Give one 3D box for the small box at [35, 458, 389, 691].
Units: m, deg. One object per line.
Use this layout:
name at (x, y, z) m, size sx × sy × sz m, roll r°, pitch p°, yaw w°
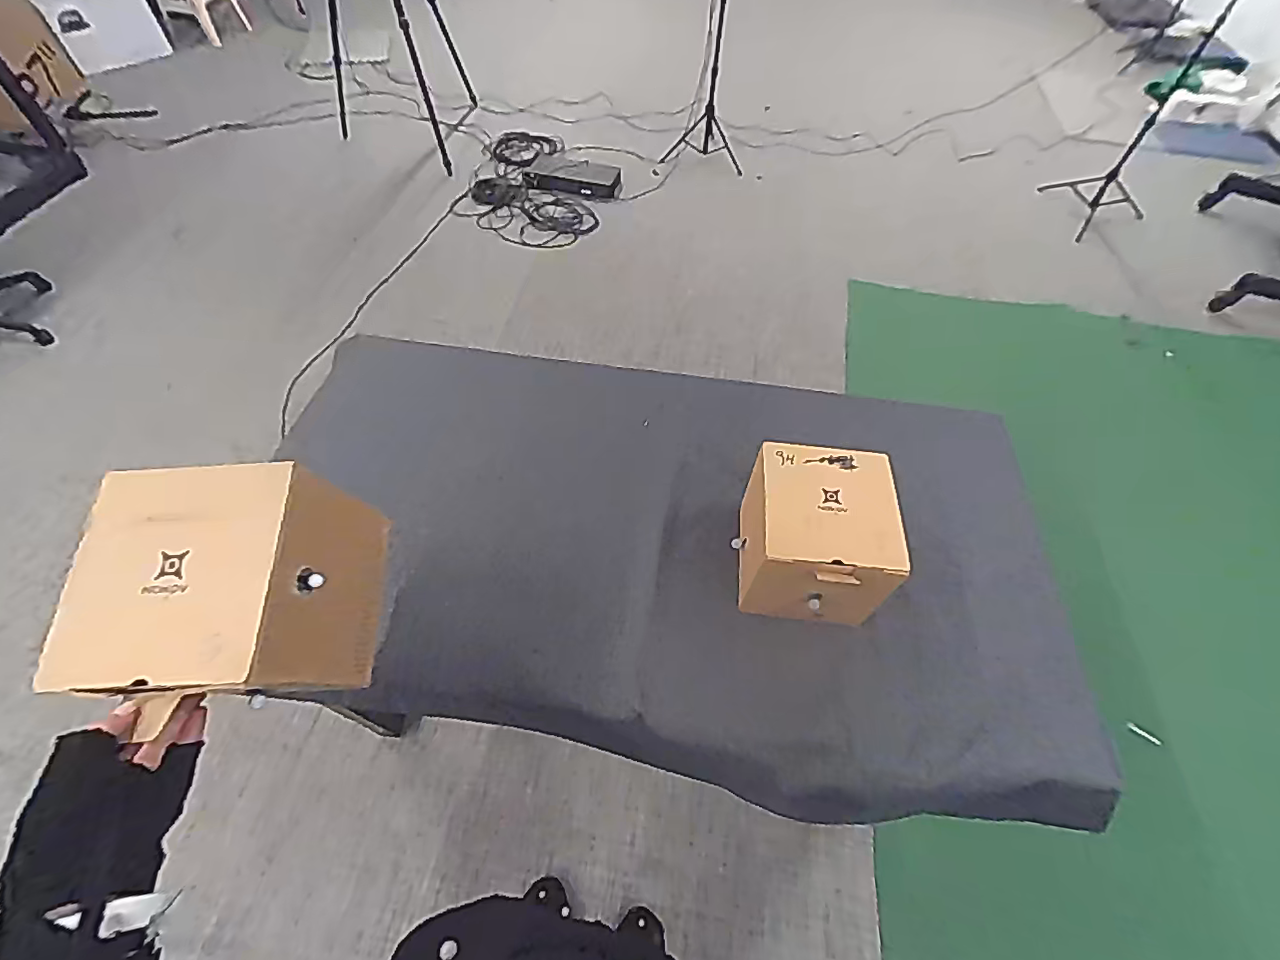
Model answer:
small box at (-0.352, 0.094, 0.489) m, size 0.168 × 0.176 × 0.179 m, roll -2°, pitch 68°, yaw 2°
